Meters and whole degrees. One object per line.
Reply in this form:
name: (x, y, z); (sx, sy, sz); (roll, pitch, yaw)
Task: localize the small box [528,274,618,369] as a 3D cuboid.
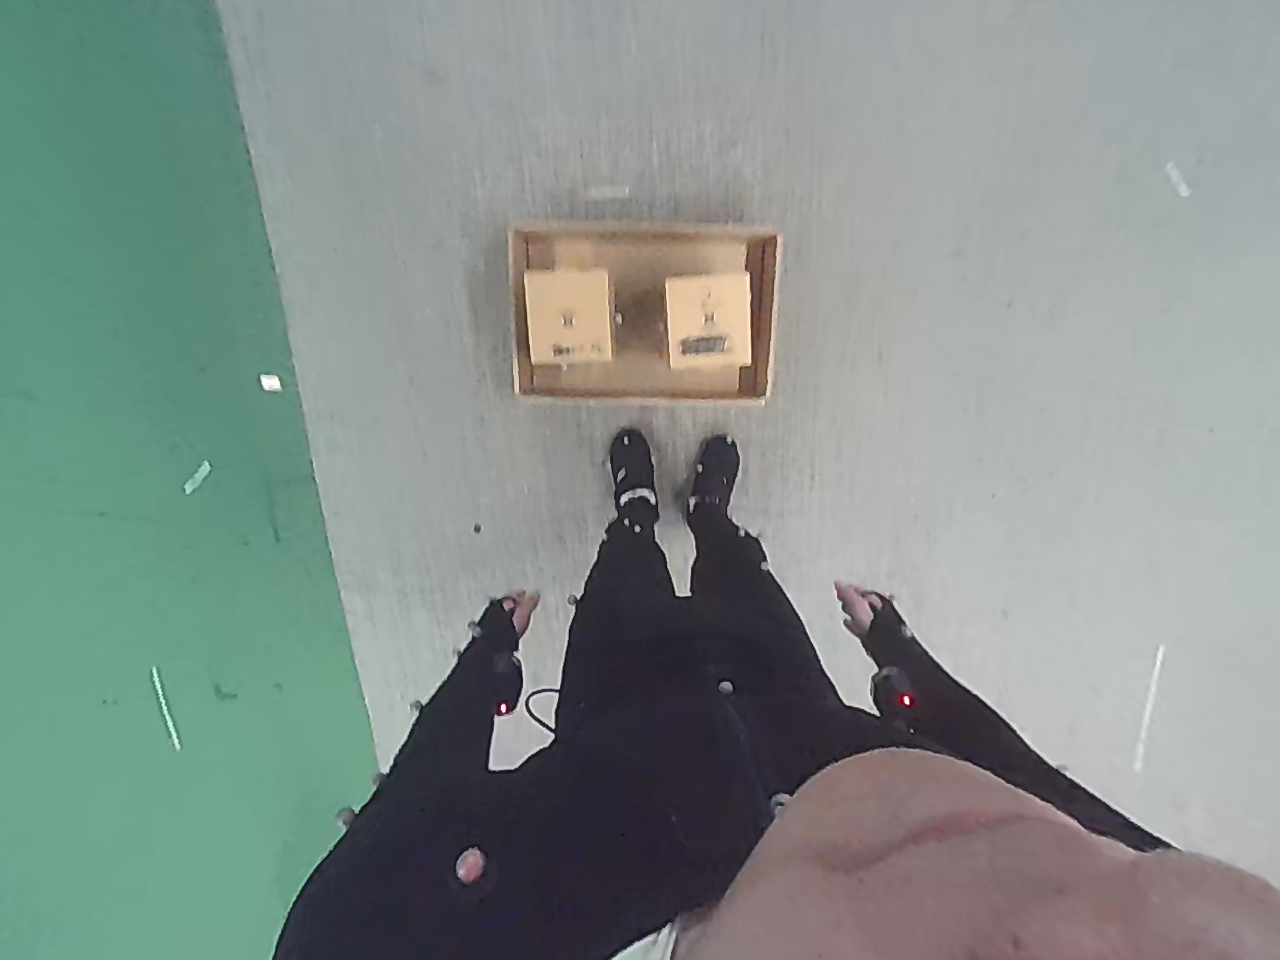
small box: (-0.135, -0.327, 1.143); (0.168, 0.176, 0.179); (-1, 102, 3)
